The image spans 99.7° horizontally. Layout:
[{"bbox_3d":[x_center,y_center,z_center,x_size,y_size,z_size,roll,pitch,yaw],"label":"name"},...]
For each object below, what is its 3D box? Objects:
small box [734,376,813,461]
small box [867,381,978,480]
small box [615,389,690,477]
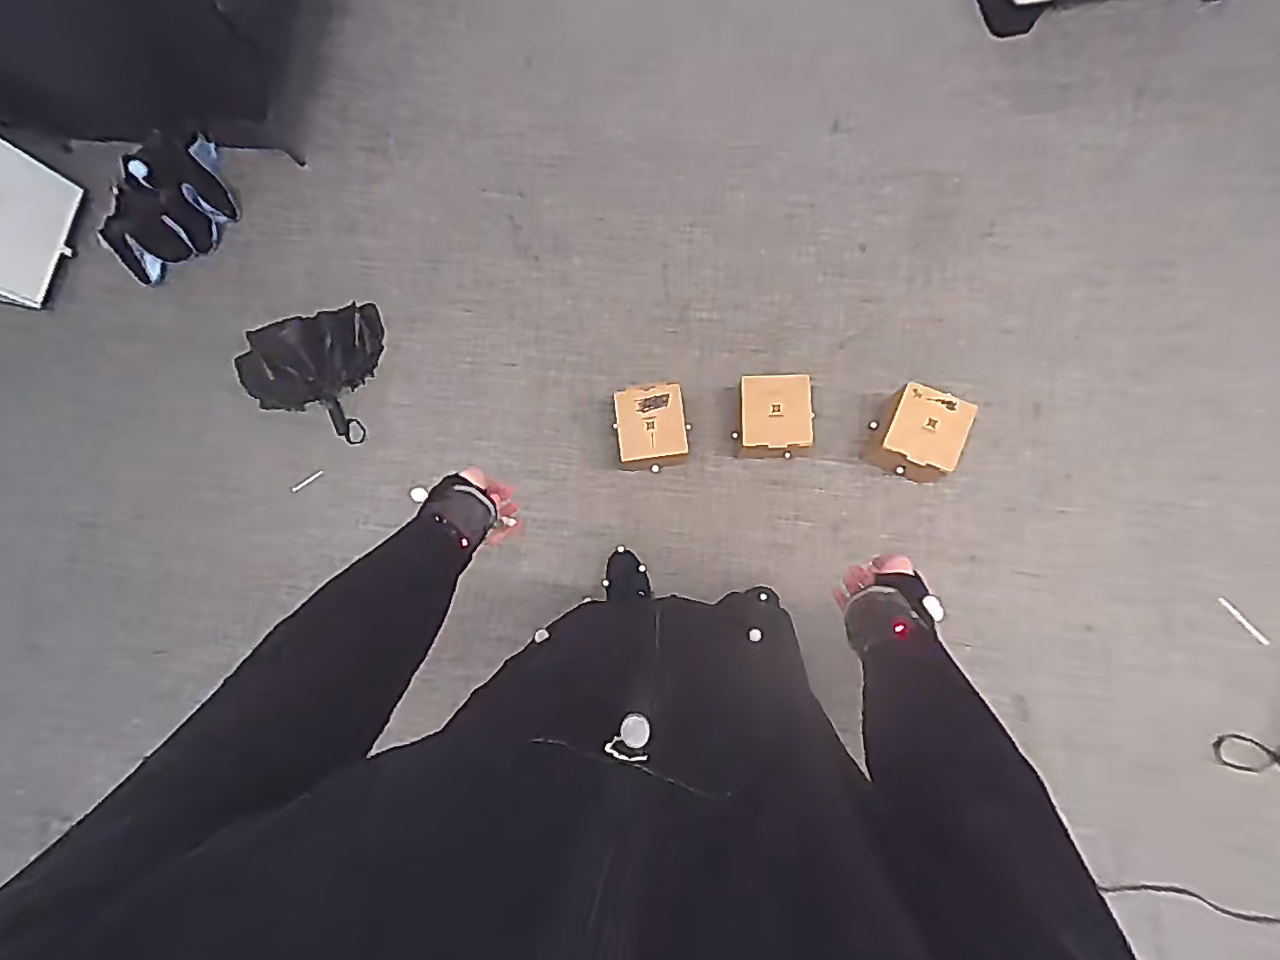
[{"bbox_3d":[0.330,-0.147,1.359,0.168,0.176,0.179,-3,80,4],"label":"small box"},{"bbox_3d":[0.675,-0.111,1.318,0.168,0.176,0.179,23,85,9],"label":"small box"},{"bbox_3d":[0.034,-0.114,1.378,0.168,0.176,0.179,-9,81,4],"label":"small box"}]
